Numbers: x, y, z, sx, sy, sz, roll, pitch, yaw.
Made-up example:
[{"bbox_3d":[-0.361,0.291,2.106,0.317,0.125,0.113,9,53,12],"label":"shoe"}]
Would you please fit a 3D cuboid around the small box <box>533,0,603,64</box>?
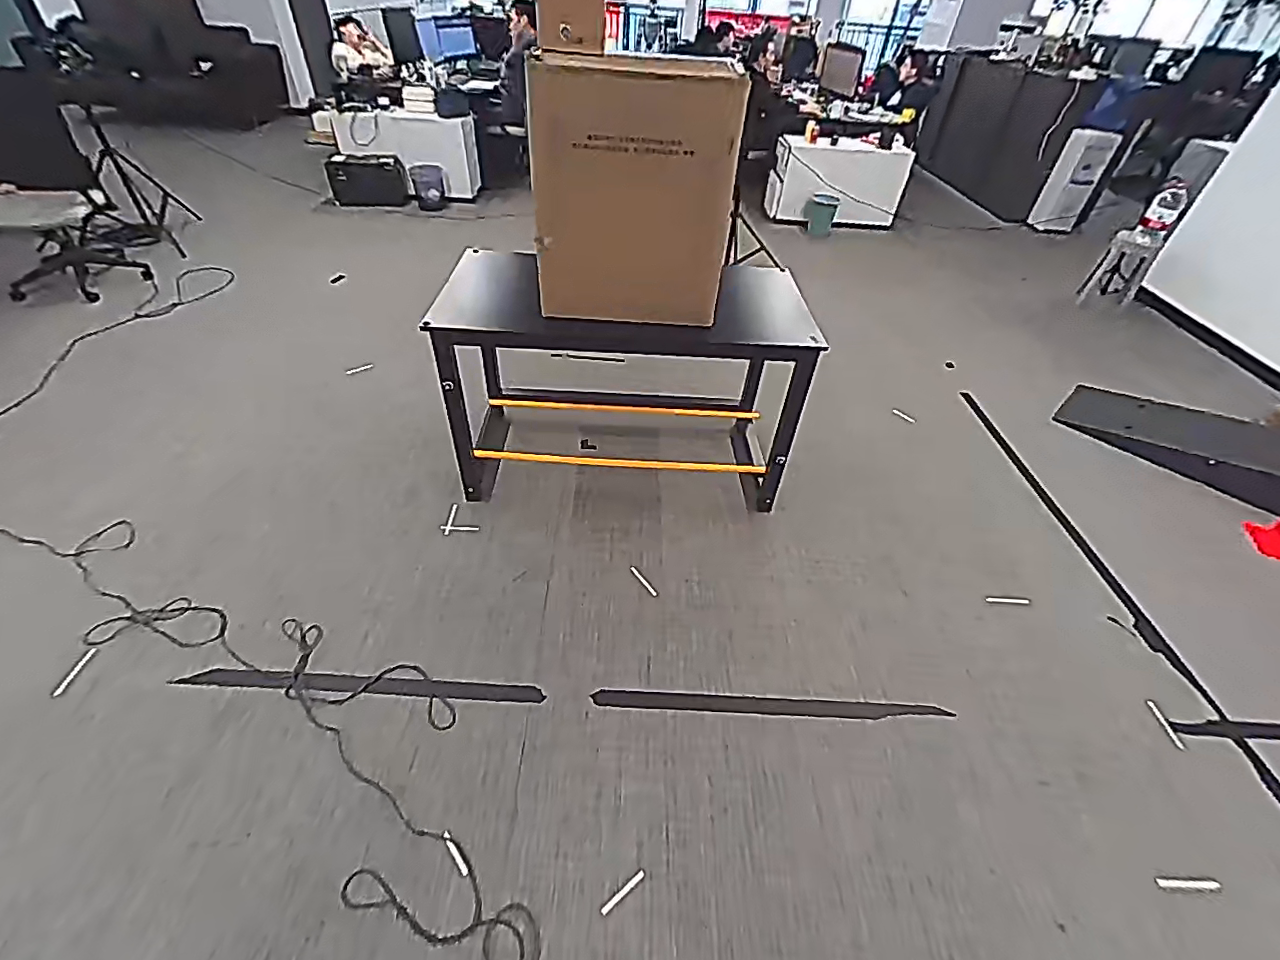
[{"bbox_3d":[-0.177,-1.157,1.348,0.168,0.176,0.179,-1,42,-5],"label":"small box"}]
